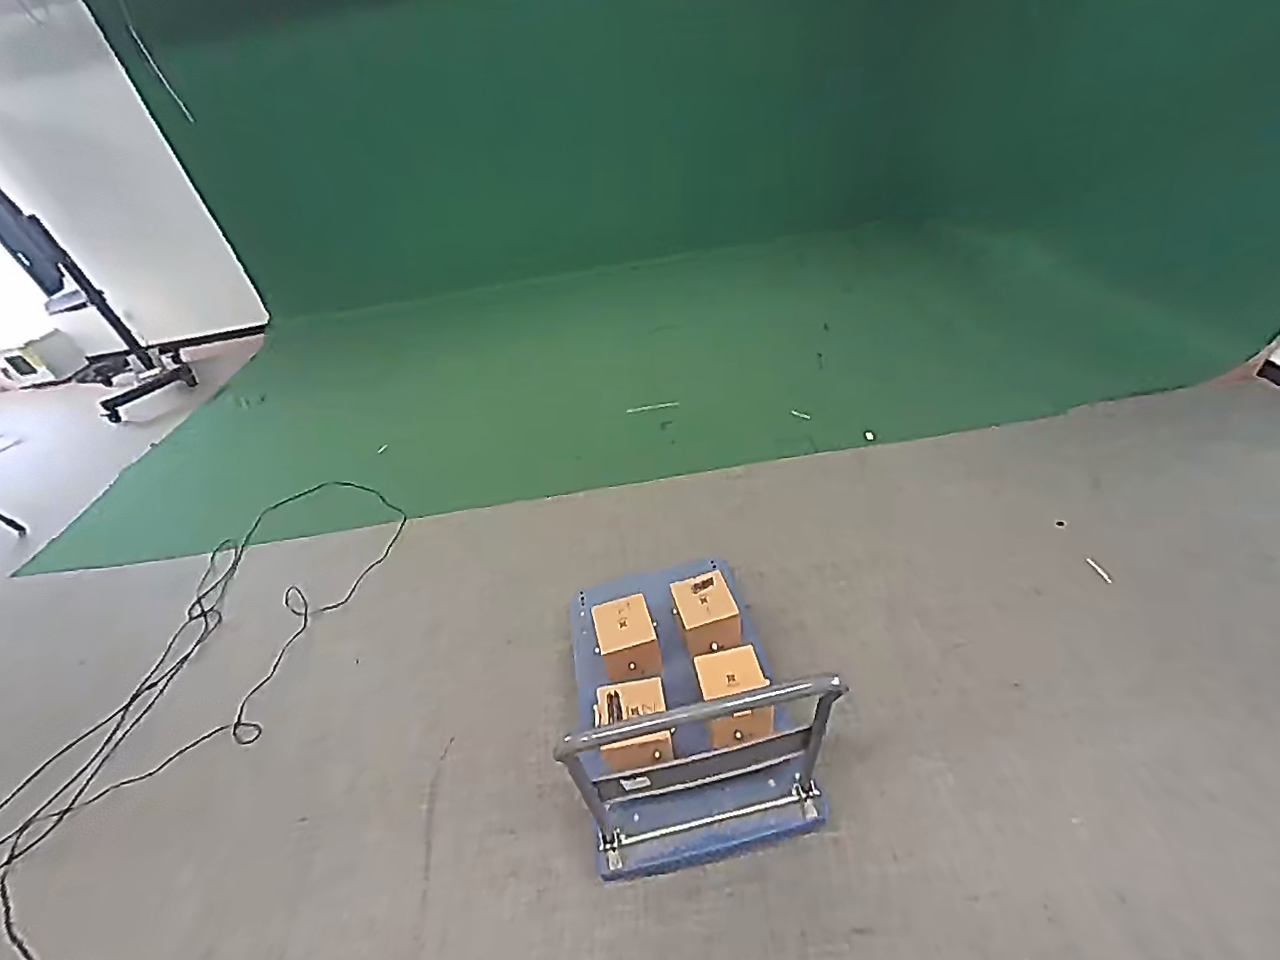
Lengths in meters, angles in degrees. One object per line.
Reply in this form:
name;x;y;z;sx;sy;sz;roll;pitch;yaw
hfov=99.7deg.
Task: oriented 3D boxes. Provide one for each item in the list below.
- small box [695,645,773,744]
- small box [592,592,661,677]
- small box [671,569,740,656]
small box;0.250;0.579;1.461;0.168;0.176;0.179;-12;40;-2
small box;-0.039;0.476;1.642;0.168;0.176;0.179;-14;40;-6
small box;0.202;0.410;1.667;0.168;0.176;0.179;-15;41;-5
